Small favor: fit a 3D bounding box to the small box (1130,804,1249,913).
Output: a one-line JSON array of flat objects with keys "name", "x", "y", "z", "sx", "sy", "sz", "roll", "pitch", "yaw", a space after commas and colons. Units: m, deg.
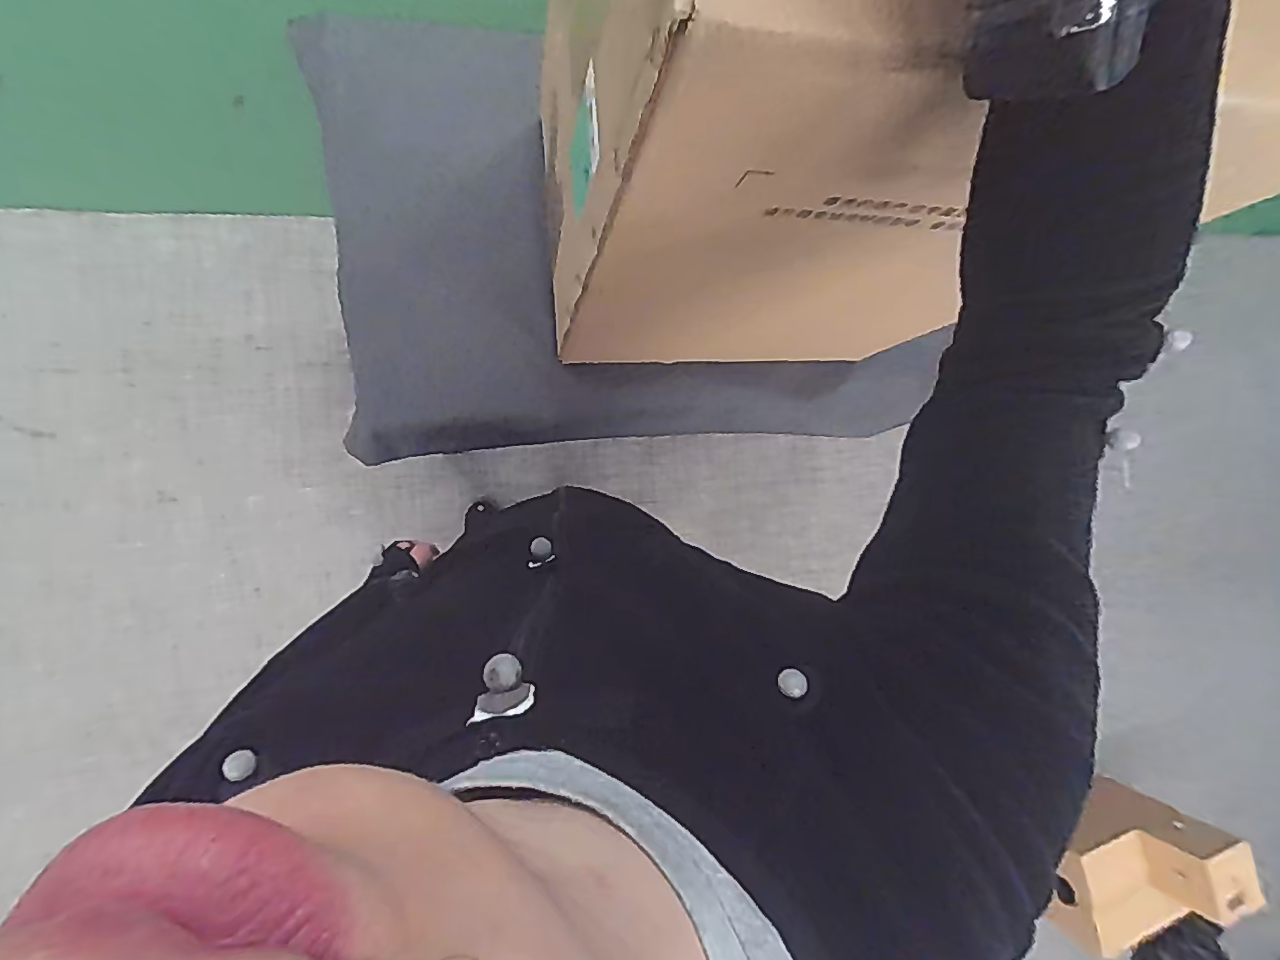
[{"name": "small box", "x": 1.588, "y": 1.089, "z": 1.570, "sx": 0.168, "sy": 0.176, "sz": 0.179, "roll": -11, "pitch": 87, "yaw": -14}]
